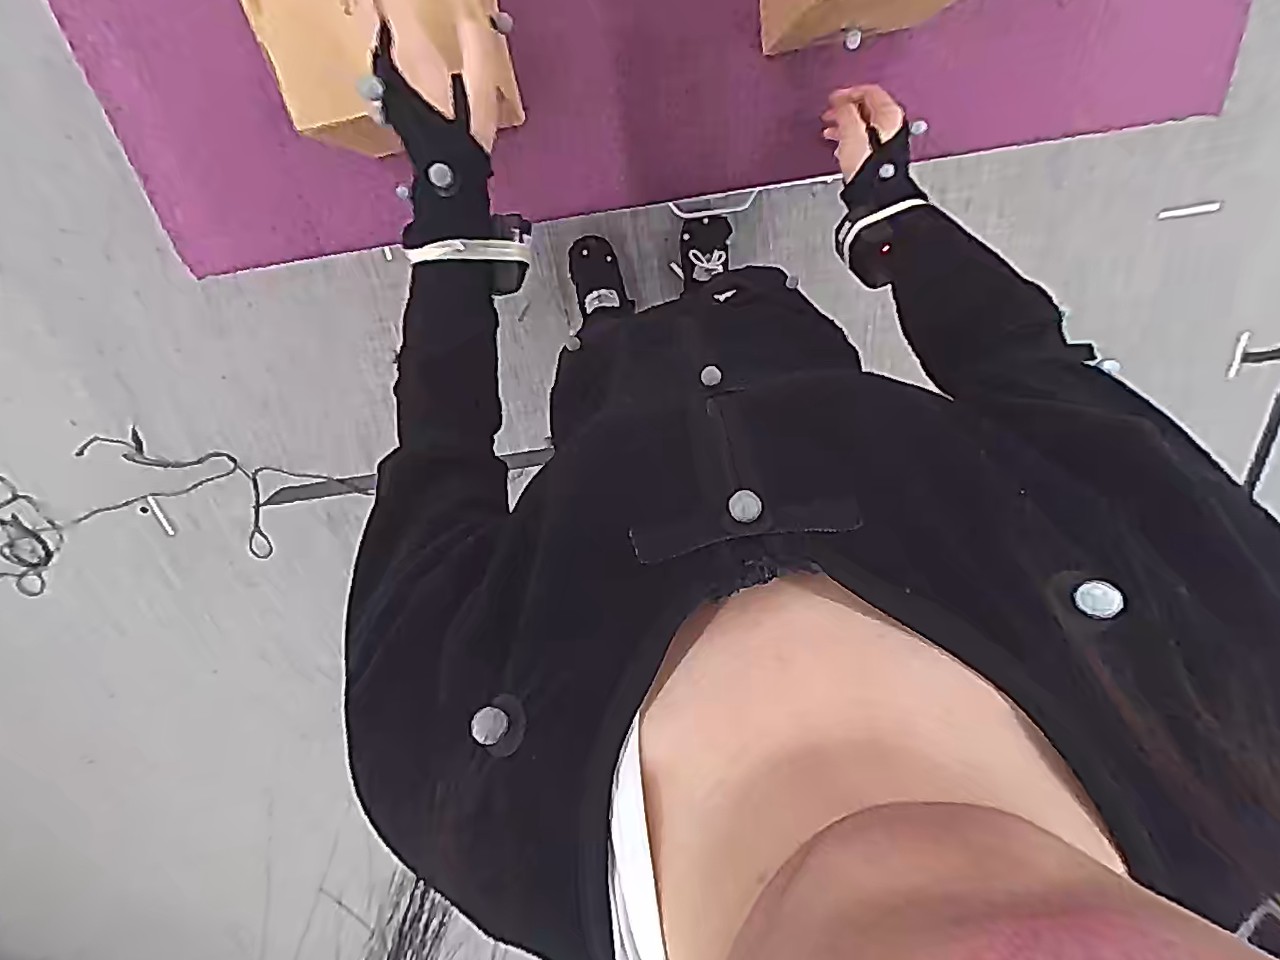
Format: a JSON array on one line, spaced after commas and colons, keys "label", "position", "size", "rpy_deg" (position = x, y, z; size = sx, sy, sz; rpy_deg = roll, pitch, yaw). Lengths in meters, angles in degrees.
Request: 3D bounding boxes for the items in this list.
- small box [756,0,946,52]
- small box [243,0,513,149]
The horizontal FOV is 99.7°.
[{"label": "small box", "position": [0.196, -0.507, 0.461], "size": [0.168, 0.176, 0.179], "rpy_deg": [-10, 116, 1]}, {"label": "small box", "position": [-0.221, -0.411, 0.480], "size": [0.179, 0.176, 0.168], "rpy_deg": [-11, 116, 2]}]
